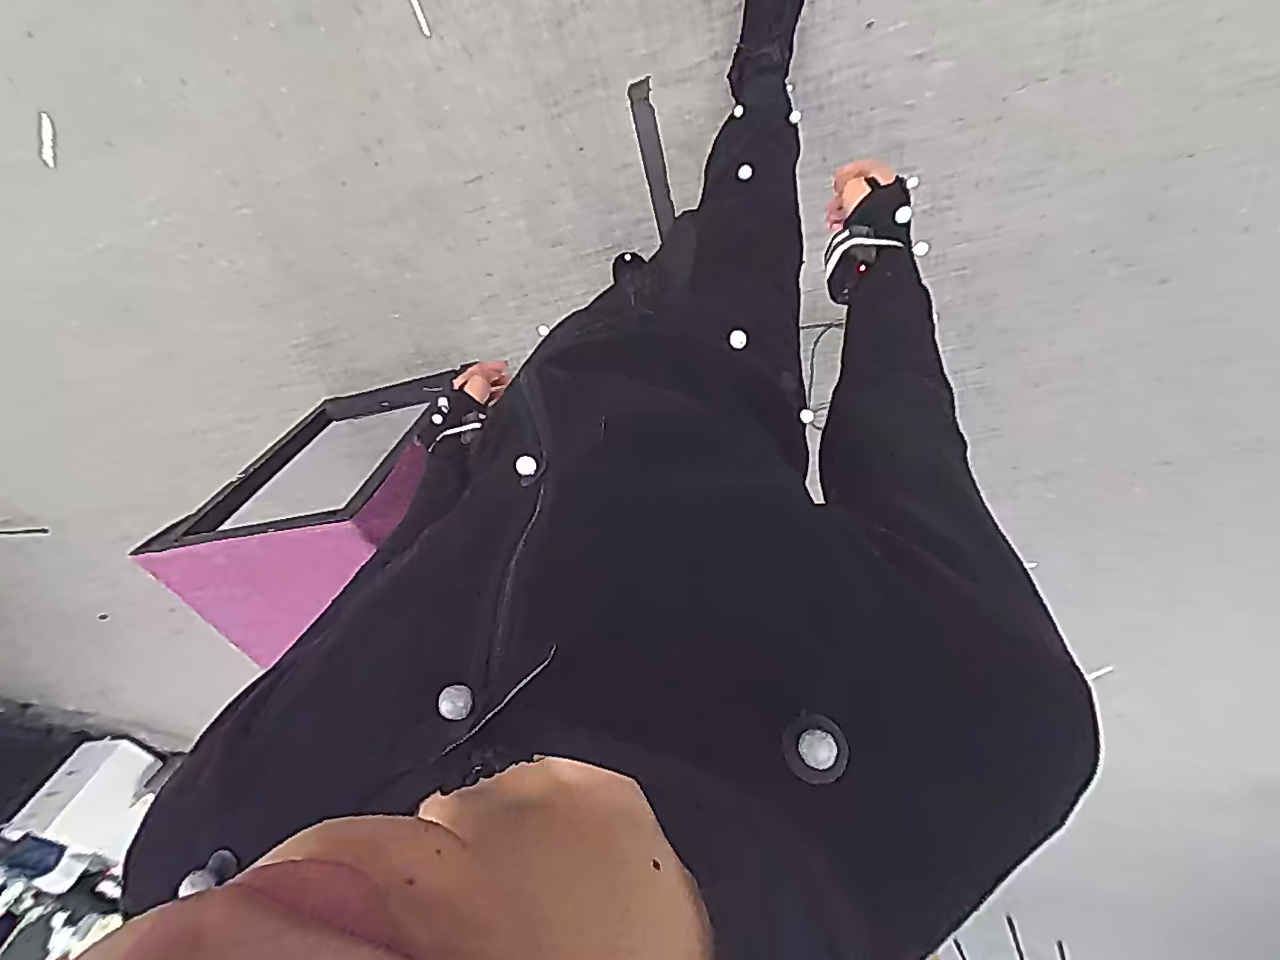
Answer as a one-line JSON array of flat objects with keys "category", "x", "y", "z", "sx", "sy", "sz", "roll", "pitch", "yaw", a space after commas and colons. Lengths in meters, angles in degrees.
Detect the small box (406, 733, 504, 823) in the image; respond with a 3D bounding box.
[{"category": "small box", "x": -0.522, "y": 0.851, "z": 1.548, "sx": 0.179, "sy": 0.176, "sz": 0.168, "roll": -21, "pitch": 122, "yaw": 22}]
